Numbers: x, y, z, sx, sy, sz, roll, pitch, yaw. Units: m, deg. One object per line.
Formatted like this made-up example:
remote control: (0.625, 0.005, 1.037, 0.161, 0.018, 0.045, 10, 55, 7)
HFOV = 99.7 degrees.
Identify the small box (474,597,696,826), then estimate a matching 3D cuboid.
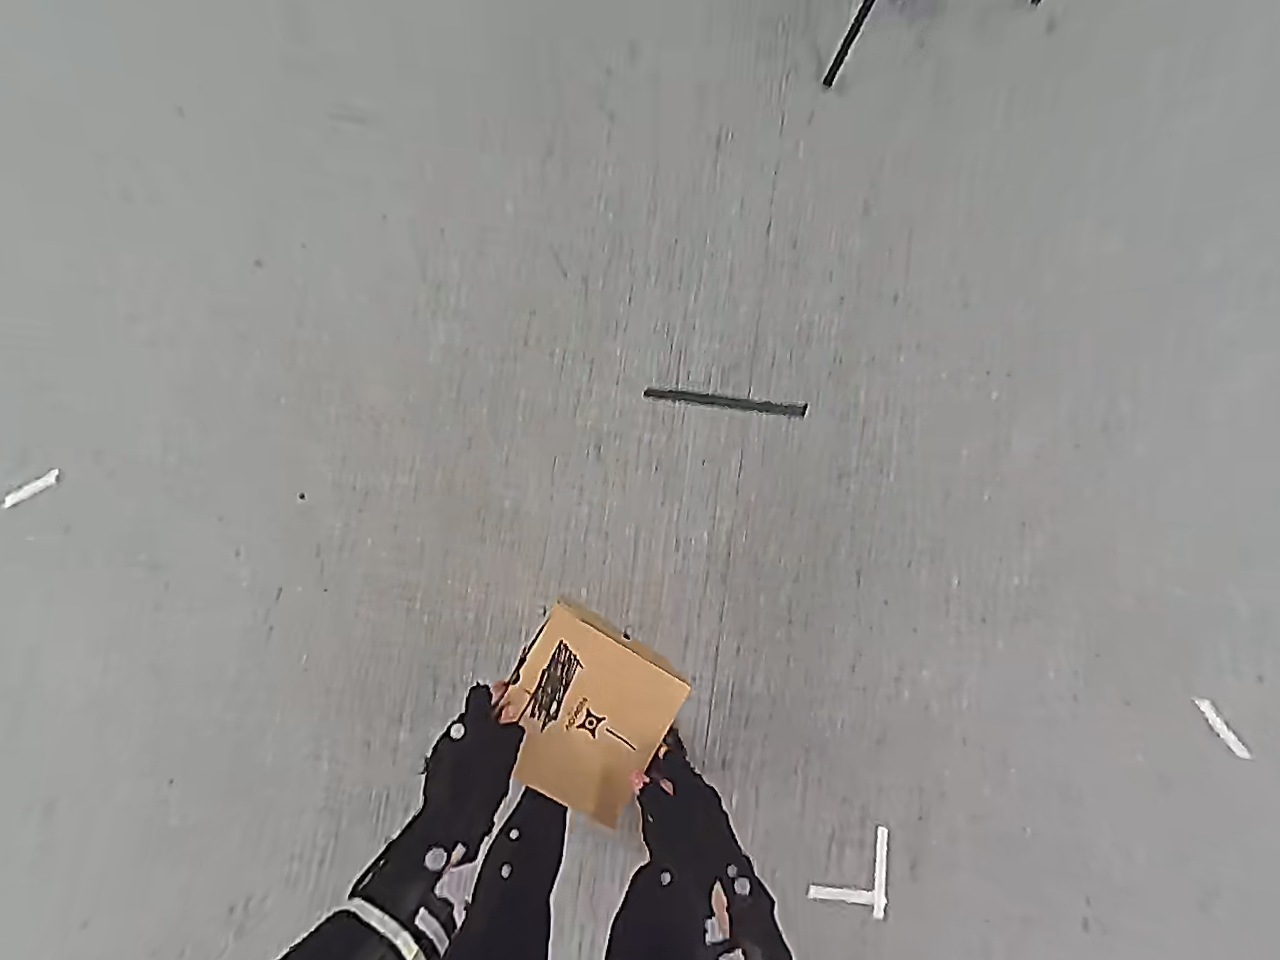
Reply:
small box: (-0.063, 0.251, 0.636, 0.179, 0.176, 0.168, 32, 79, -2)
